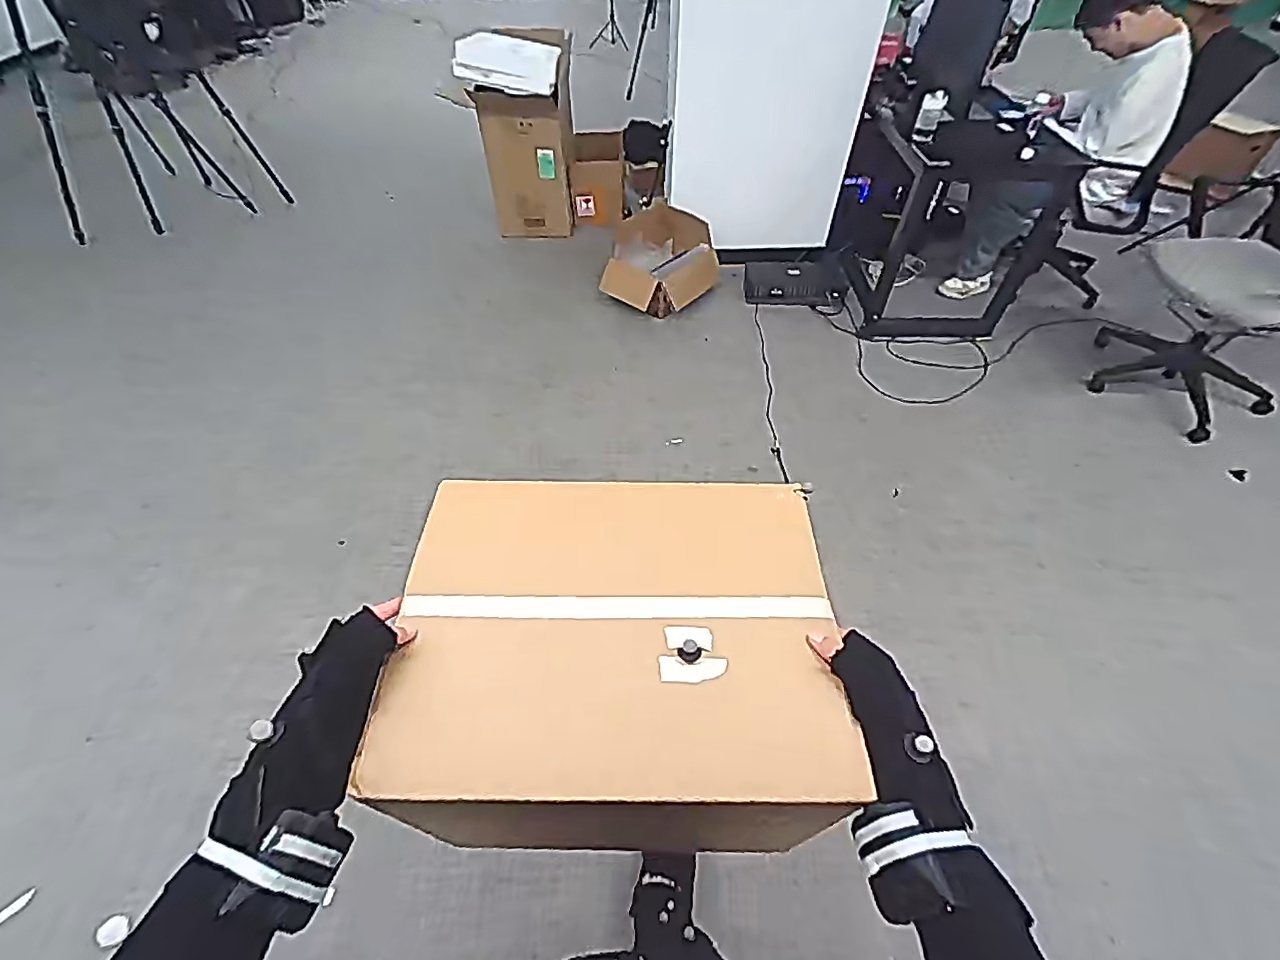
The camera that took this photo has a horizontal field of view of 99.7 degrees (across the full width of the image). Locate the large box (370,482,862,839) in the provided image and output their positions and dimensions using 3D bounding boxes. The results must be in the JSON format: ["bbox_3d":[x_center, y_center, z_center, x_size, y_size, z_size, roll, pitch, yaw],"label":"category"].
[{"bbox_3d":[-0.021,0.217,0.637,0.408,0.320,0.320,1,50,0],"label":"large box"}]
